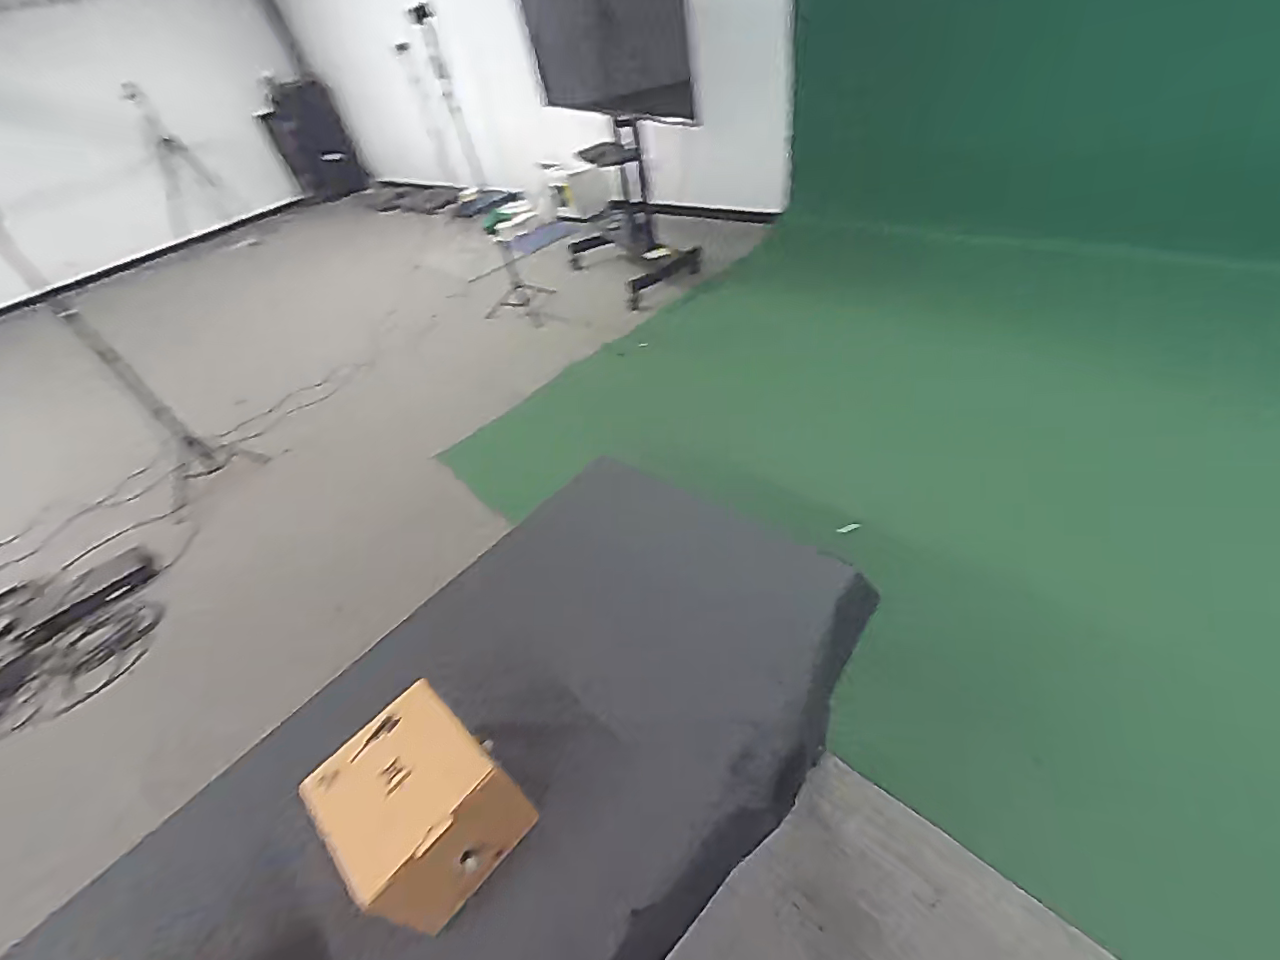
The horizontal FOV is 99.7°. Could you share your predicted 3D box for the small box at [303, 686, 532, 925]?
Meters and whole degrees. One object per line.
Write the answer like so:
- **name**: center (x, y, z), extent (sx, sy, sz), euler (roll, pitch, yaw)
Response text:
- **small box**: center (-0.261, 0.399, 0.665), extent (0.179, 0.176, 0.168), euler (27, 55, 36)
